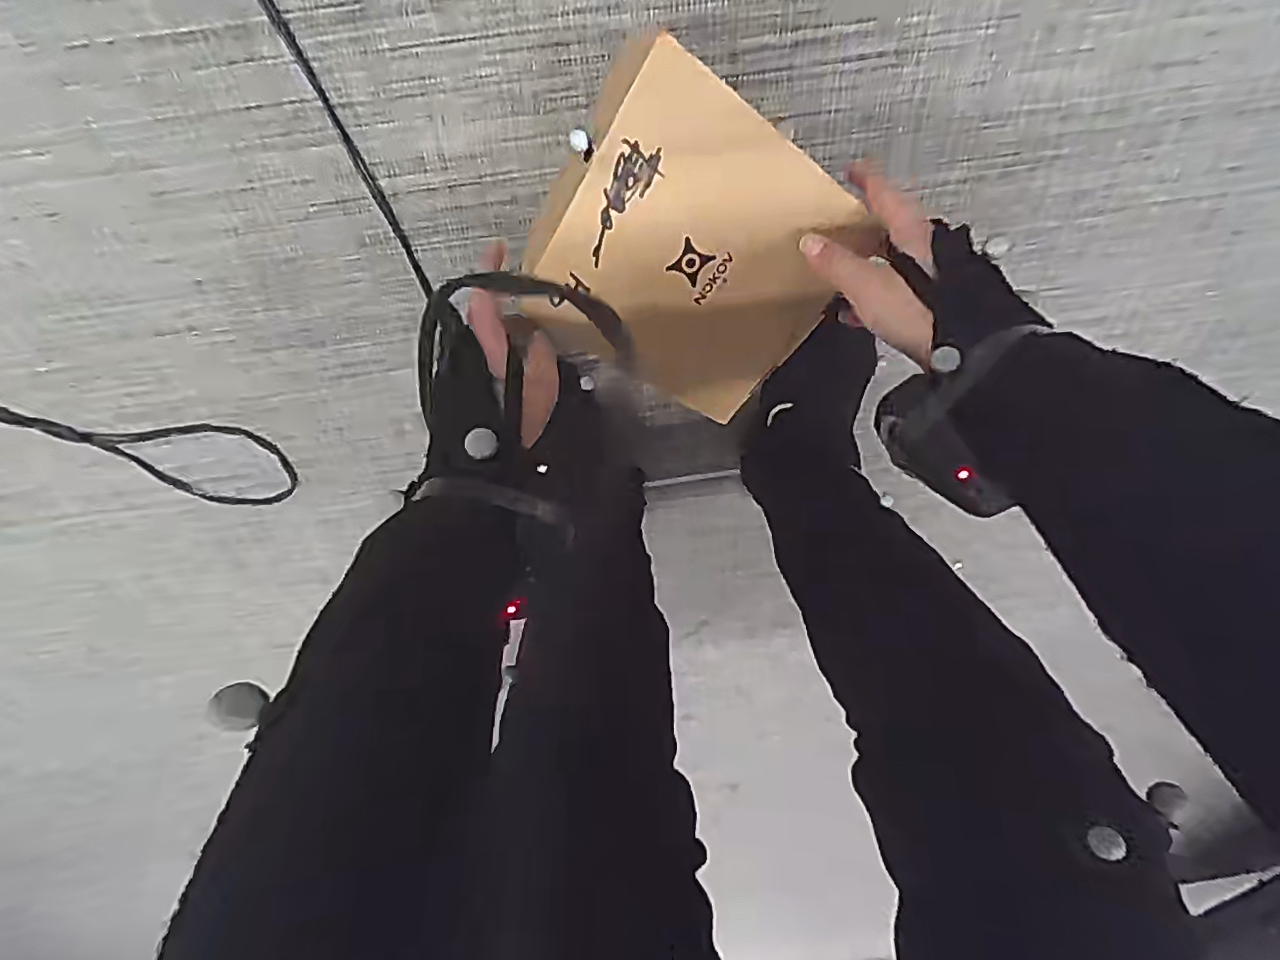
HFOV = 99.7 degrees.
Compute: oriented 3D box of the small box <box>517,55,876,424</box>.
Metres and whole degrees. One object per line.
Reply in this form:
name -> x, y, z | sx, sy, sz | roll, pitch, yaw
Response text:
small box -> 0.027, -0.178, 0.403 | 0.179, 0.176, 0.168 | 24, 121, -25
